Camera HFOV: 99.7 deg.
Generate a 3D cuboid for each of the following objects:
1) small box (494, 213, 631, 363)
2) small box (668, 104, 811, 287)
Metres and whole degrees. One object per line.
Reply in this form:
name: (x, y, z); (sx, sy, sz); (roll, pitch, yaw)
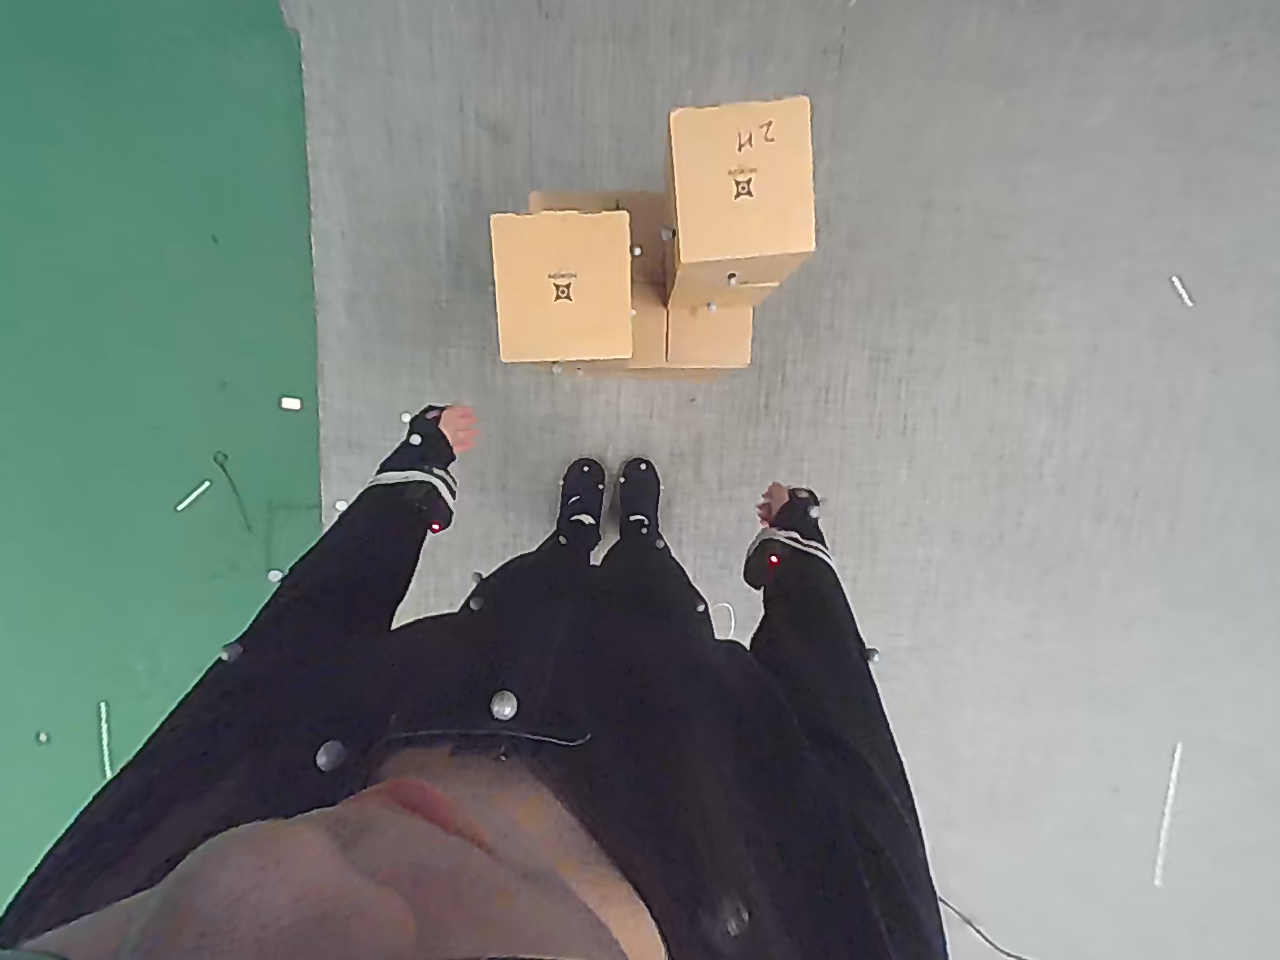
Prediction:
small box: (-0.095, -0.252, 0.746); (0.168, 0.176, 0.179); (-2, 101, -1)
small box: (0.126, -0.365, 0.729); (0.168, 0.176, 0.179); (-4, 98, 1)
